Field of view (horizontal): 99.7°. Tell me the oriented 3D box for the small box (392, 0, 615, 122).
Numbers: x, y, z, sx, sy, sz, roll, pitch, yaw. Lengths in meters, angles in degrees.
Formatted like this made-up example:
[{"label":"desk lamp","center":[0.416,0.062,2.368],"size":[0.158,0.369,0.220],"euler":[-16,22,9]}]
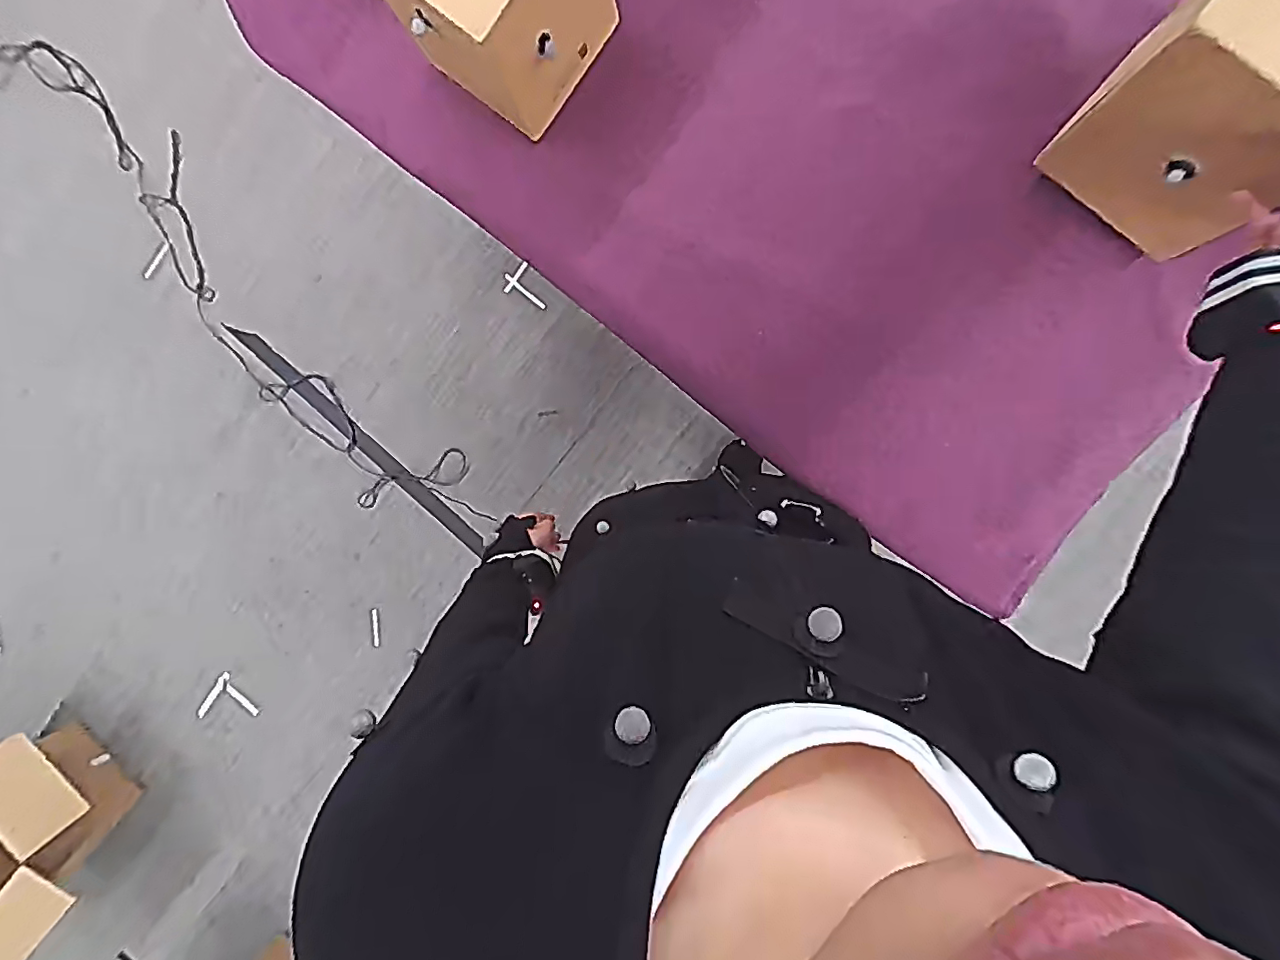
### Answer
[{"label":"small box","center":[-0.146,-0.514,0.553],"size":[0.179,0.176,0.168],"euler":[39,98,4]}]
